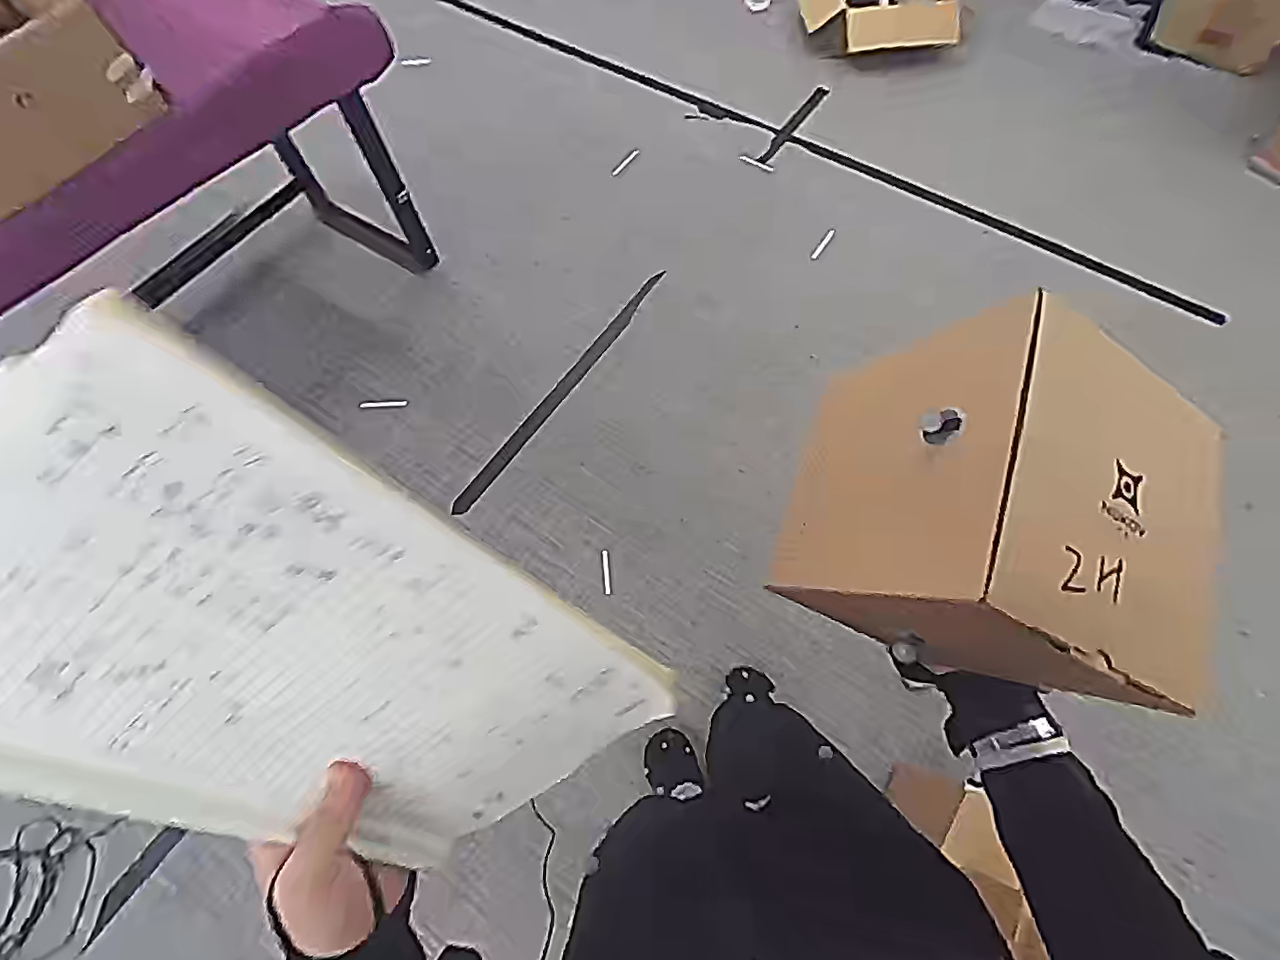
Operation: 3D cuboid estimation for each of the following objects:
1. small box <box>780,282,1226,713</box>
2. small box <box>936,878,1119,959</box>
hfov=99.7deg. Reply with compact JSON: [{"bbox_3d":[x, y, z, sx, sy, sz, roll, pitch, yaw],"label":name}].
[{"bbox_3d":[0.217,0.019,0.348,0.168,0.176,0.179,26,73,-16],"label":"small box"},{"bbox_3d":[0.584,0.739,0.809,0.179,0.176,0.168,29,72,11],"label":"small box"}]
